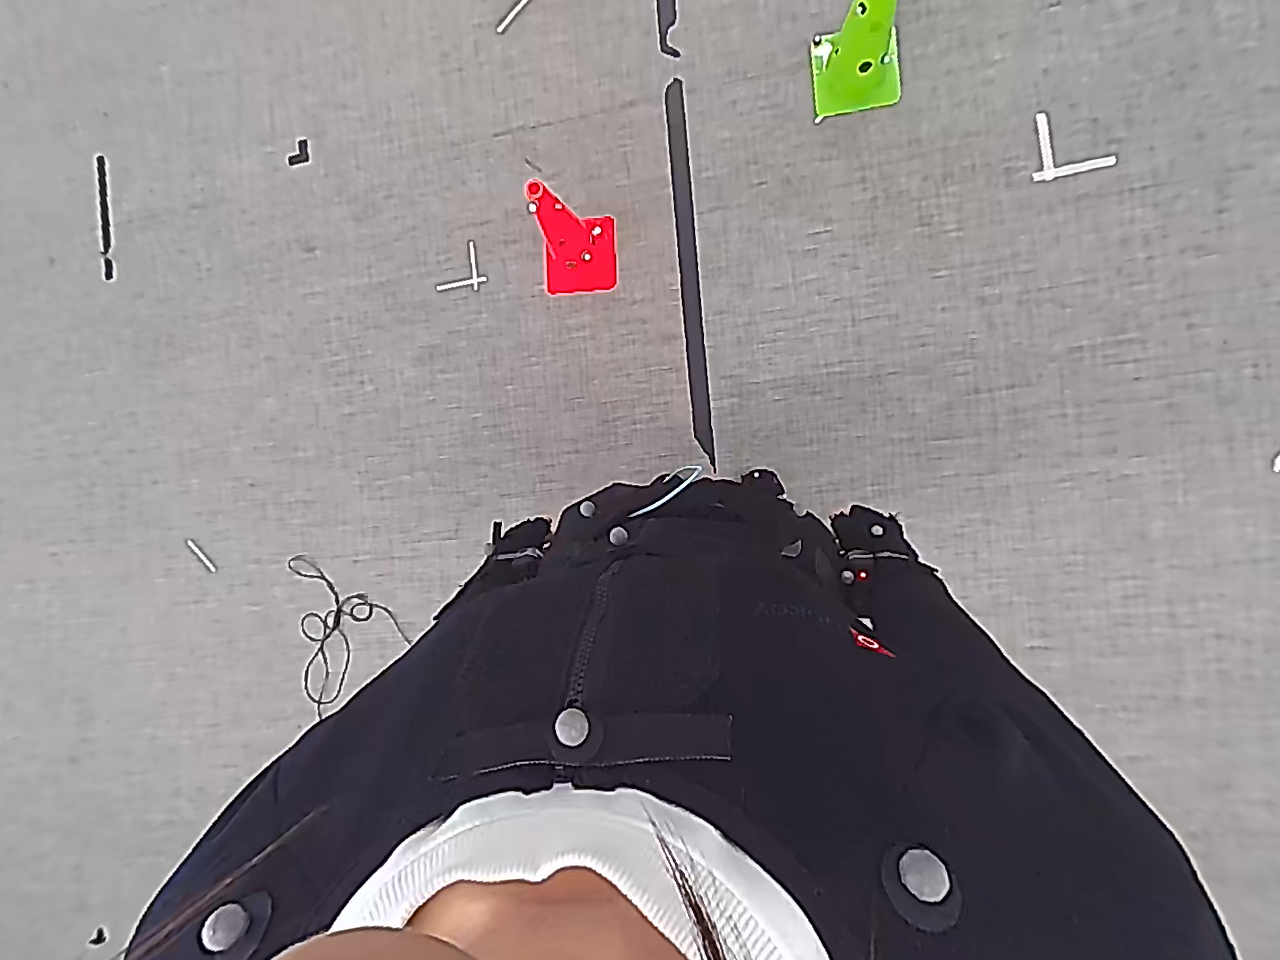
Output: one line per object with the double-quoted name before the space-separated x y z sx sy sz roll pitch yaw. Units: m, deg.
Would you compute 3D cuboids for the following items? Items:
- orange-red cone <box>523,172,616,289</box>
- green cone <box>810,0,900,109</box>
"orange-red cone" -0.195 -0.617 1.289 0.199 0.360 0.198 -1 90 11
"green cone" 0.501 -1.018 1.156 0.202 0.368 0.200 -5 90 9
